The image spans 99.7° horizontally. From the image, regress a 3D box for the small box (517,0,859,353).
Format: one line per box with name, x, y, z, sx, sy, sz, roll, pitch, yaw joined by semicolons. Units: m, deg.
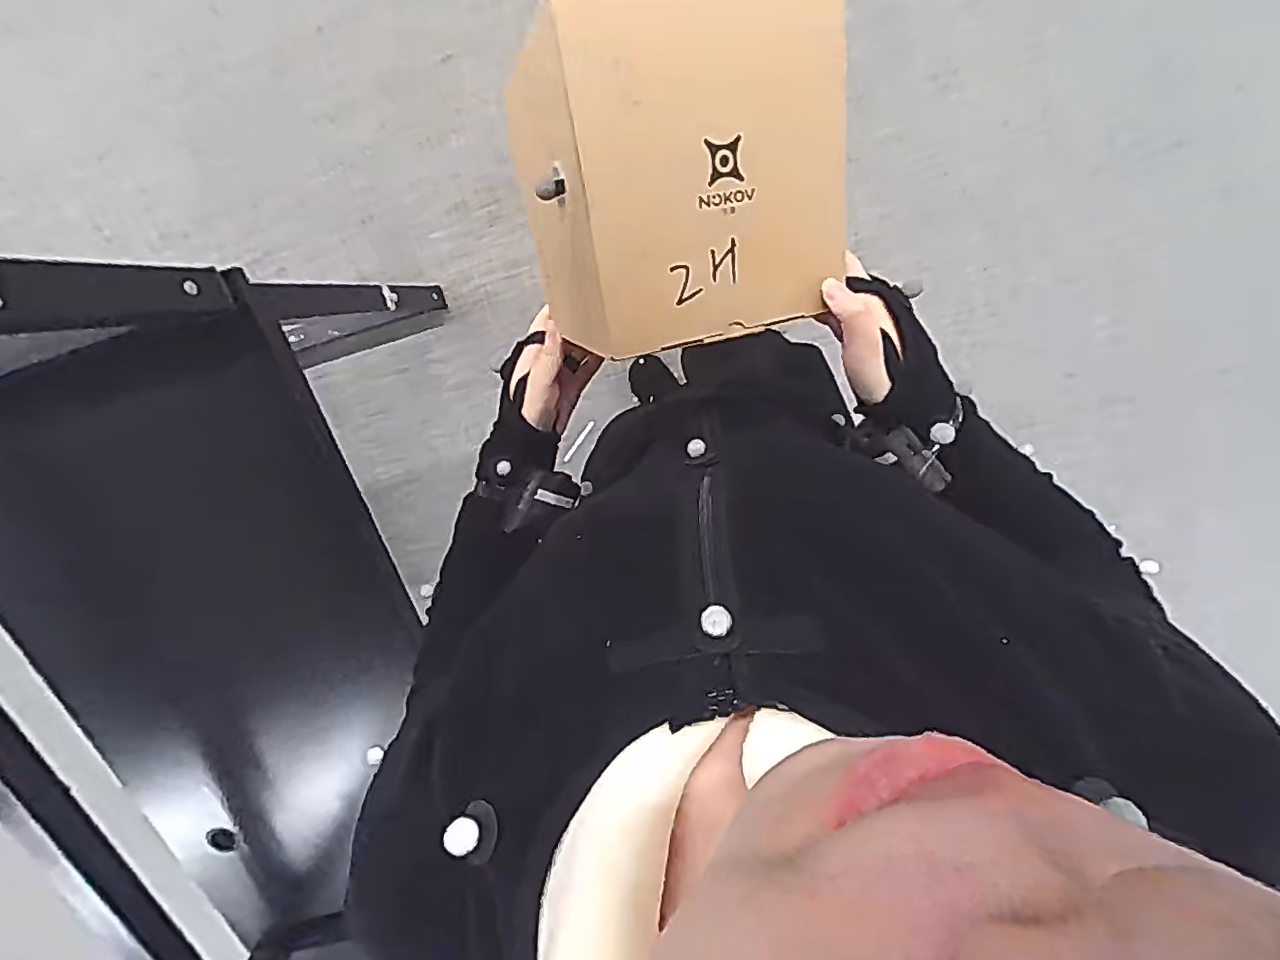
small box;0.022;-0.195;0.365;0.168;0.176;0.179;-15;114;-15
